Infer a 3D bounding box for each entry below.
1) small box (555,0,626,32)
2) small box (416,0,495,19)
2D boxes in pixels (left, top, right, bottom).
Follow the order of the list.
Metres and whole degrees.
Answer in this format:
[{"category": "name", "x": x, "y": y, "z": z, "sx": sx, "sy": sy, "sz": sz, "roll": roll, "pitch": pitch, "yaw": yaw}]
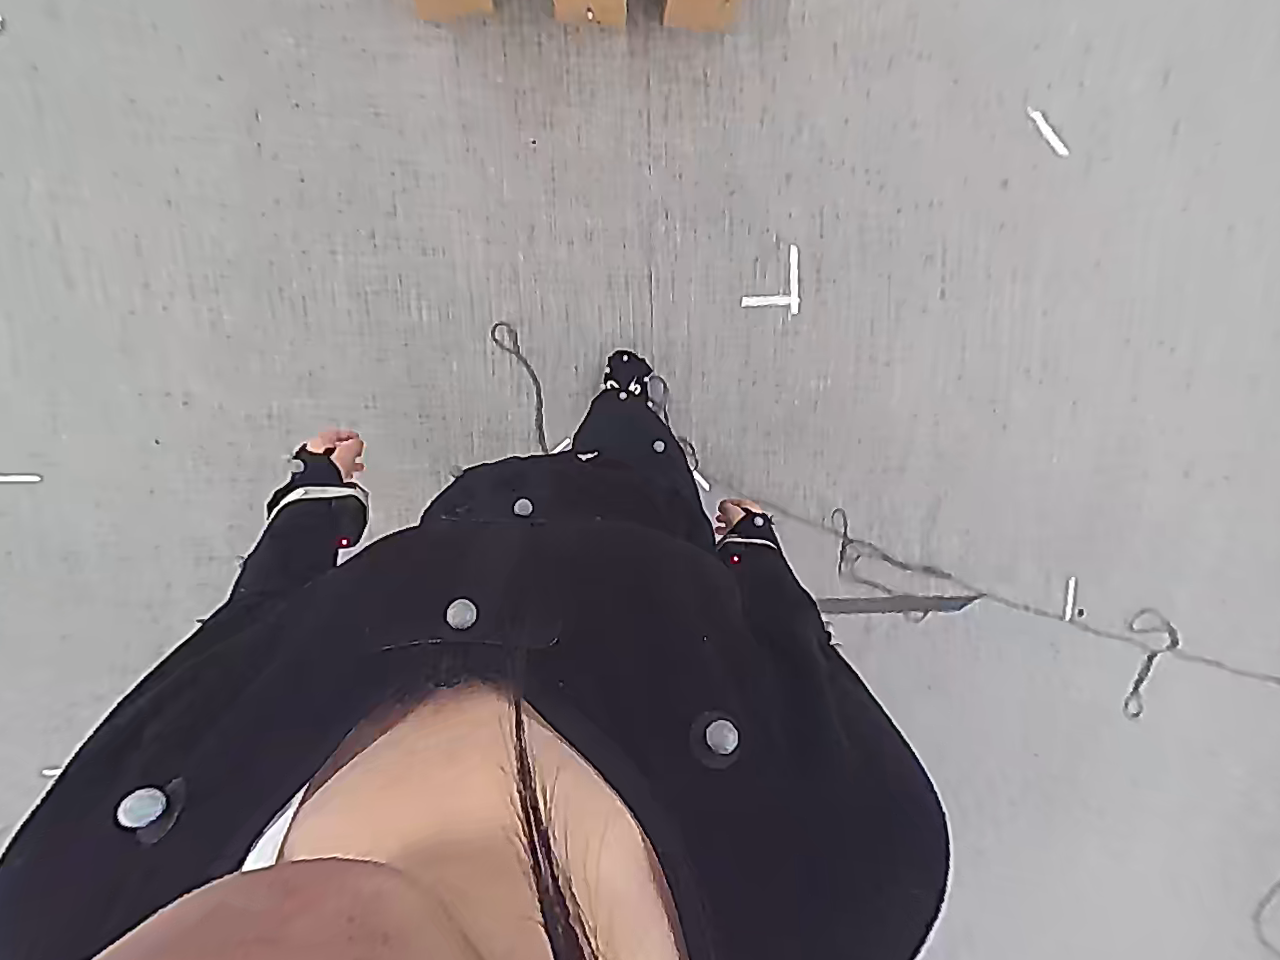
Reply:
[{"category": "small box", "x": -0.111, "y": -1.183, "z": 1.235, "sx": 0.168, "sy": 0.176, "sz": 0.179, "roll": 2, "pitch": 98, "yaw": -4}, {"category": "small box", "x": -0.439, "y": -1.180, "z": 1.208, "sx": 0.179, "sy": 0.176, "sz": 0.168, "roll": -9, "pitch": 99, "yaw": -3}]
